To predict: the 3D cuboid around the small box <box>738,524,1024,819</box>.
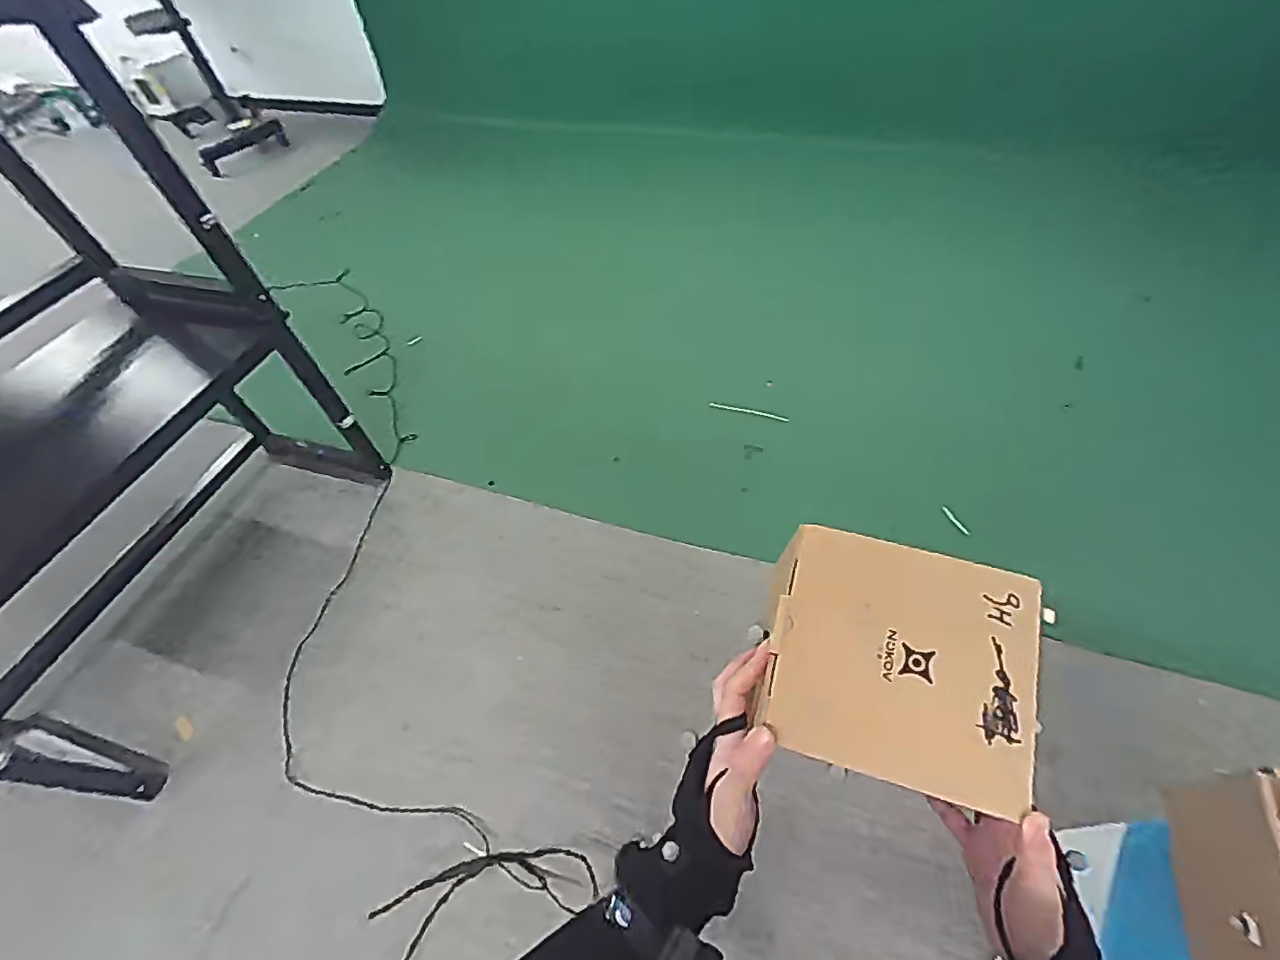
[{"bbox_3d":[0.186,0.156,0.462,0.179,0.176,0.168,13,70,12],"label":"small box"}]
